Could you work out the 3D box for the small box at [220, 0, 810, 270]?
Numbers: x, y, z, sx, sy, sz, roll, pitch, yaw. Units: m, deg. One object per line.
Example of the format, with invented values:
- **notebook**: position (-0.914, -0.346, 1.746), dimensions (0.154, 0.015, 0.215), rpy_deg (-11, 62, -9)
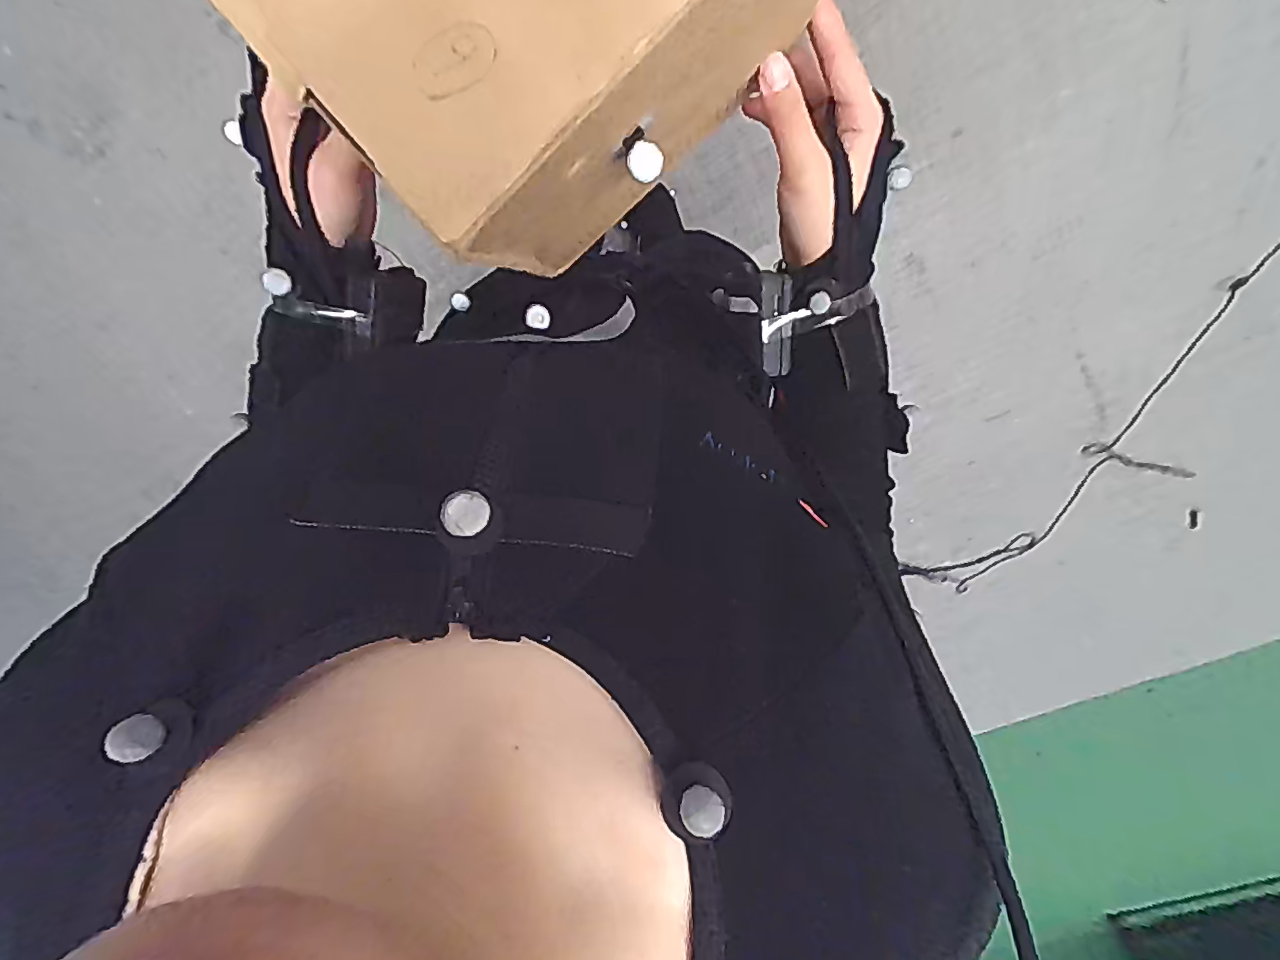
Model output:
- **small box**: position (-0.040, -0.204, 0.213), dimensions (0.179, 0.176, 0.168), rpy_deg (-37, 102, 15)
